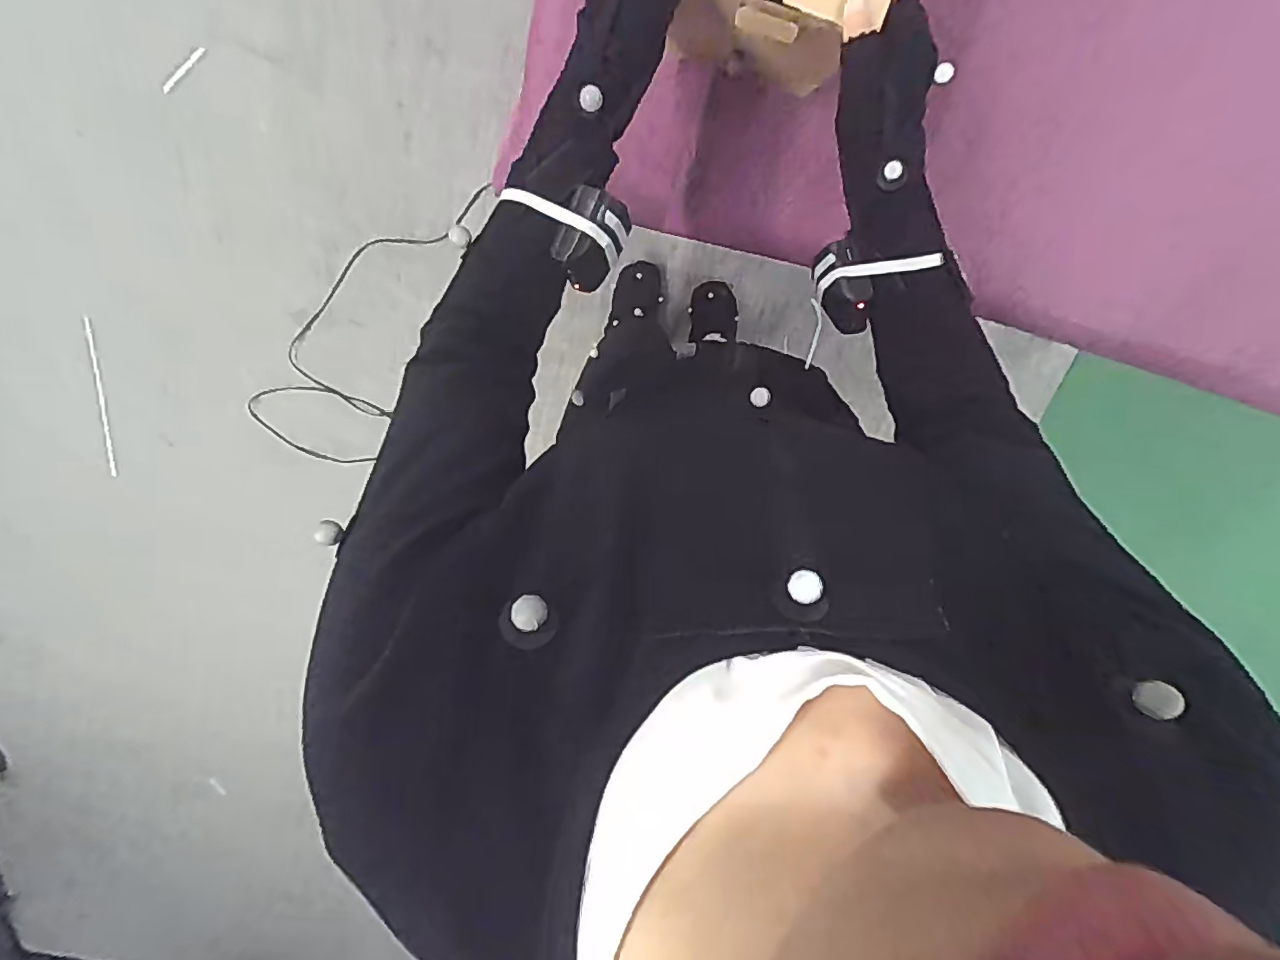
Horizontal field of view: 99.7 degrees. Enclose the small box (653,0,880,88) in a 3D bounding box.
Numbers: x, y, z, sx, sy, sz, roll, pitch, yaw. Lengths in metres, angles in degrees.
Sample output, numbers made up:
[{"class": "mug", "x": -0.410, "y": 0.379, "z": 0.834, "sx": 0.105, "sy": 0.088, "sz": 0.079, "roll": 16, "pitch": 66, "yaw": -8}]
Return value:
[{"class": "small box", "x": 0.109, "y": -0.456, "z": 0.432, "sx": 0.168, "sy": 0.176, "sz": 0.179, "roll": 12, "pitch": 113, "yaw": -7}]
